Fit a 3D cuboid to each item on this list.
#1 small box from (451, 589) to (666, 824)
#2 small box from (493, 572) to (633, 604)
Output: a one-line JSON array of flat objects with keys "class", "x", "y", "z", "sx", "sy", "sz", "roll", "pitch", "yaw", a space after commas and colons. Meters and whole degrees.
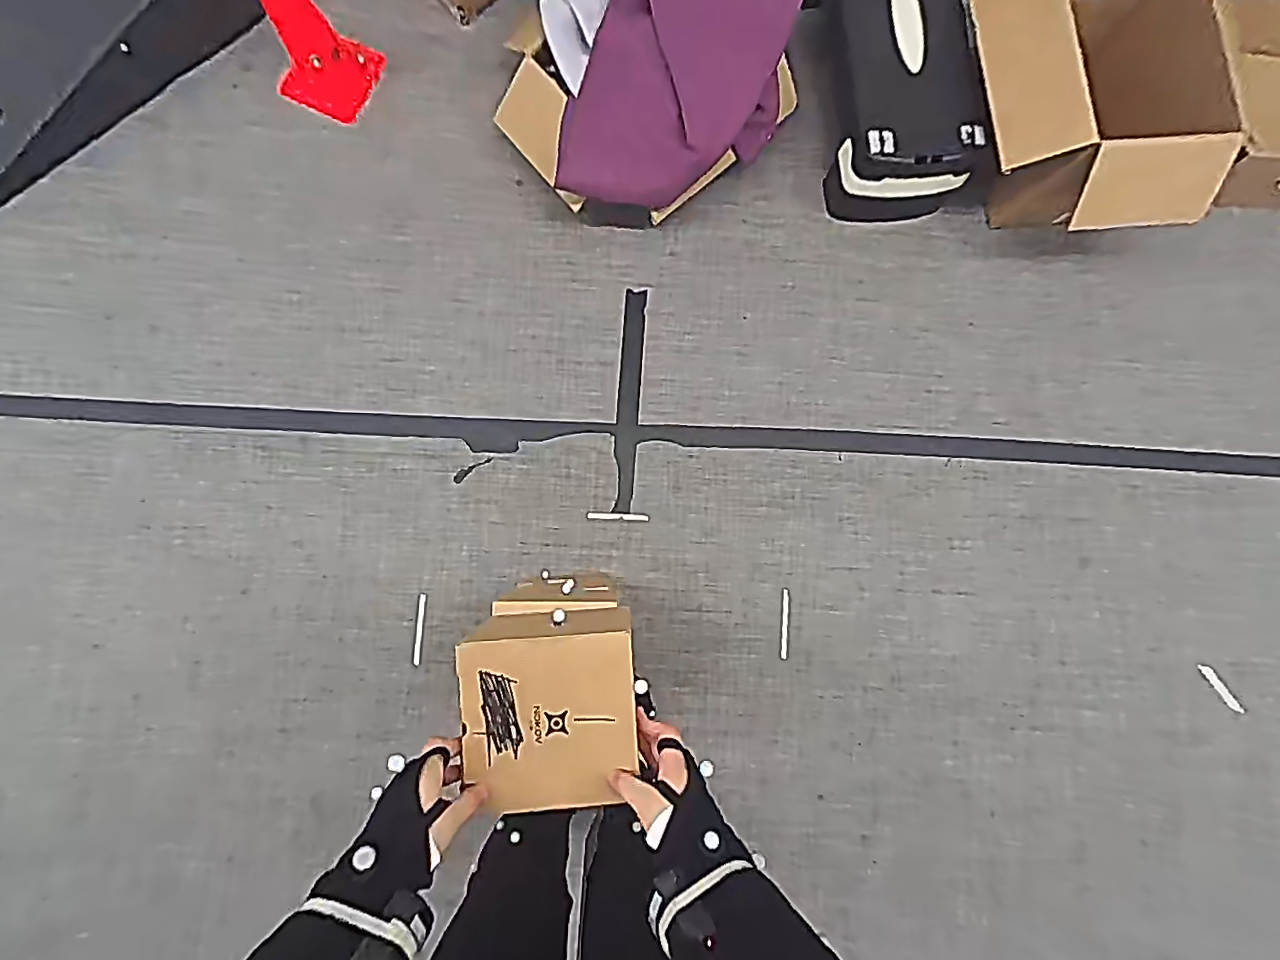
[{"class": "small box", "x": -0.072, "y": 0.203, "z": 0.532, "sx": 0.179, "sy": 0.176, "sz": 0.168, "roll": -4, "pitch": 86, "yaw": -4}, {"class": "small box", "x": -0.094, "y": 0.212, "z": 0.702, "sx": 0.168, "sy": 0.176, "sz": 0.179, "roll": 1, "pitch": 84, "yaw": -2}]
